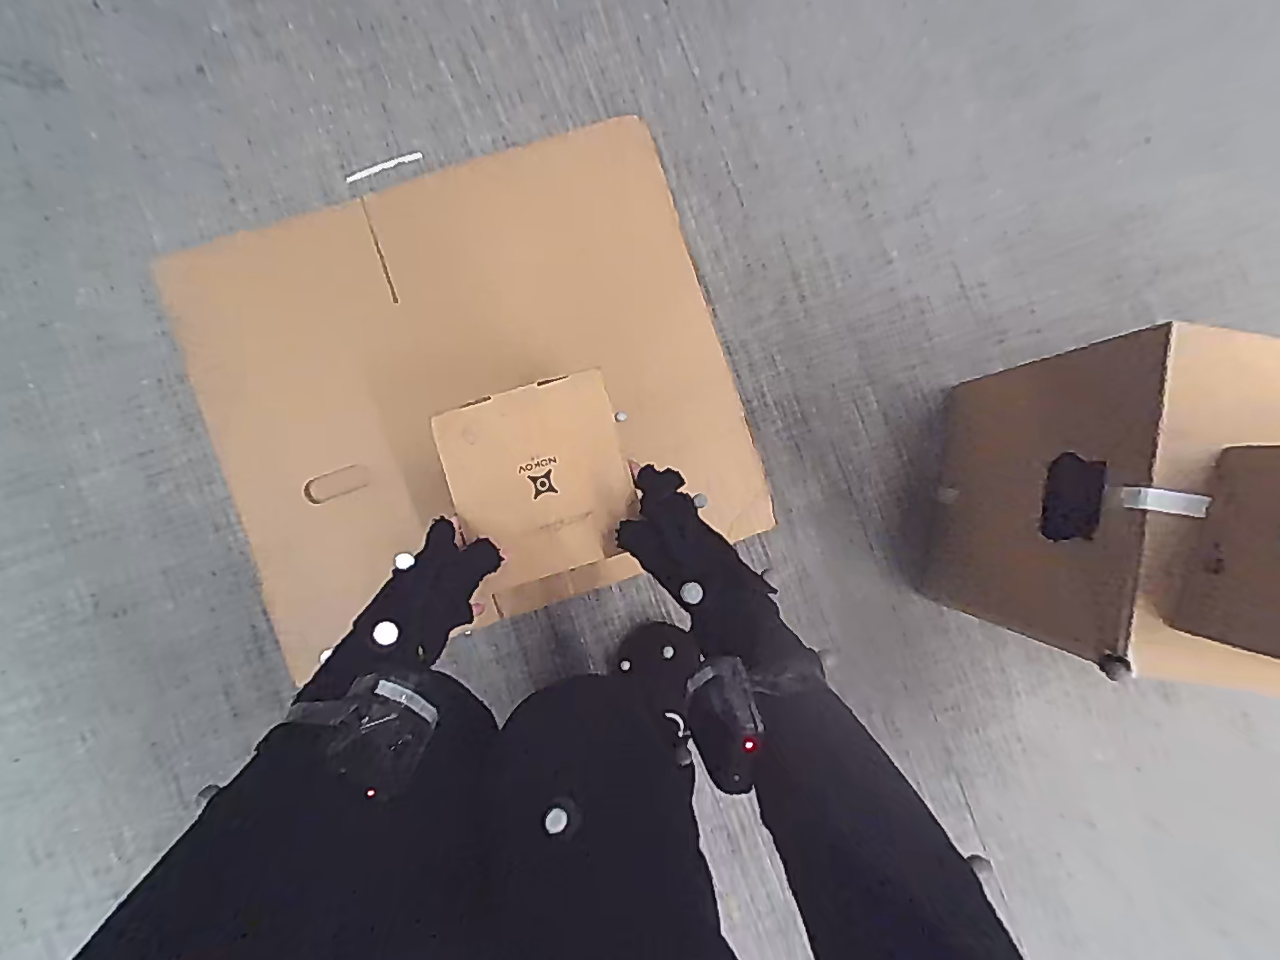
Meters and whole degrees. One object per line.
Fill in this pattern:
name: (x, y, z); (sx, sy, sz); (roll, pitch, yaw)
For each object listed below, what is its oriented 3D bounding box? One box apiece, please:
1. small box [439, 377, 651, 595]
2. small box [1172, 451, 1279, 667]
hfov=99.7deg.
small box: (-0.094, 0.006, 0.595); (0.168, 0.176, 0.179); (-18, 90, -2)
small box: (0.553, 0.072, 0.389); (0.179, 0.176, 0.168); (14, 88, -2)
